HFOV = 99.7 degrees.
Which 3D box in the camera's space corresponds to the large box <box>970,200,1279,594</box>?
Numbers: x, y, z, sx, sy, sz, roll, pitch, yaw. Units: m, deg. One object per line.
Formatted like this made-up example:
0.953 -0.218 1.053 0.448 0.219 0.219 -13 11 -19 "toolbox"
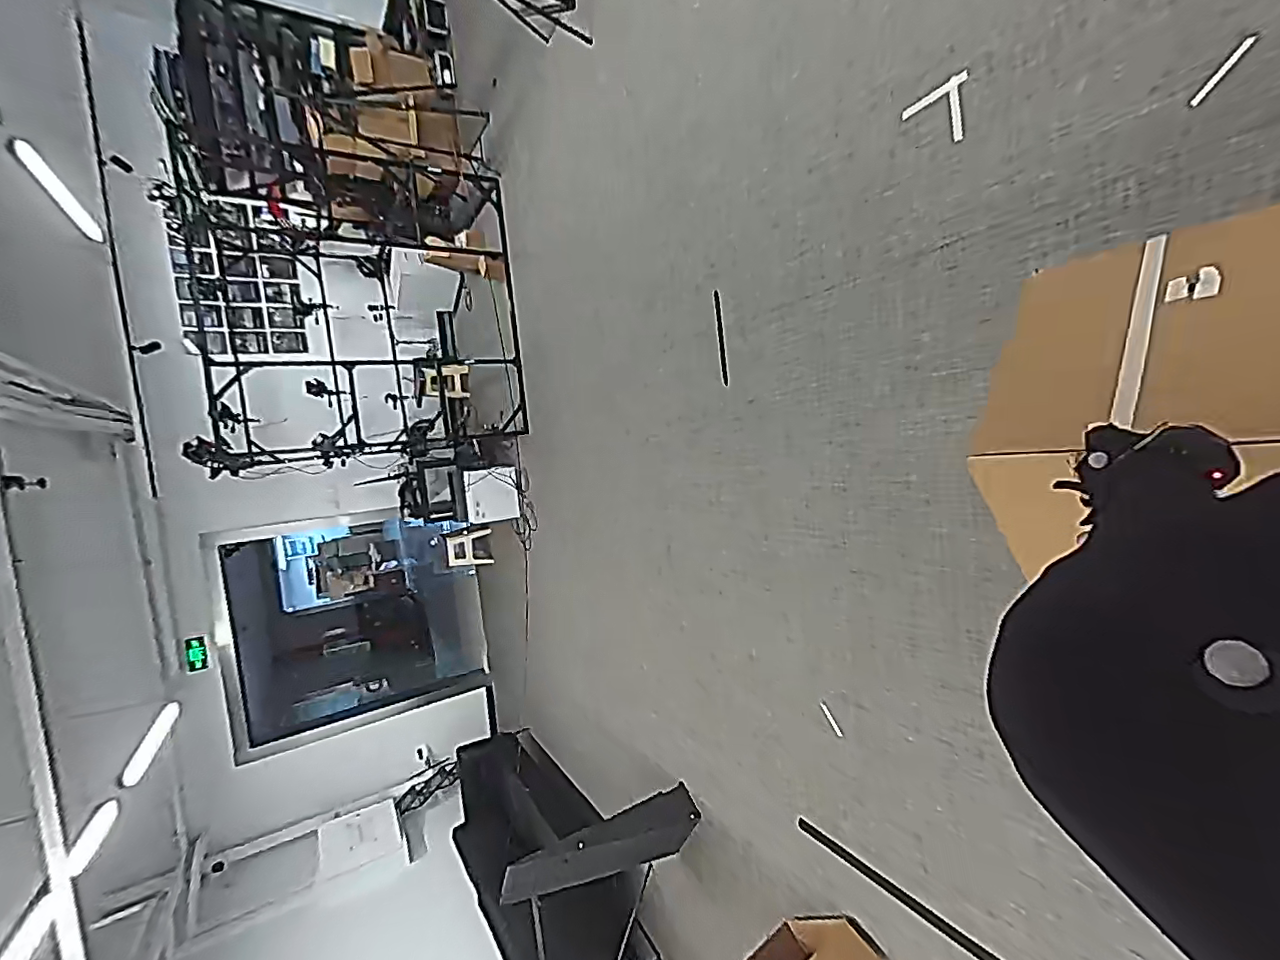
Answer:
0.728 -0.100 0.758 0.320 0.408 0.320 46 154 -28 "large box"
